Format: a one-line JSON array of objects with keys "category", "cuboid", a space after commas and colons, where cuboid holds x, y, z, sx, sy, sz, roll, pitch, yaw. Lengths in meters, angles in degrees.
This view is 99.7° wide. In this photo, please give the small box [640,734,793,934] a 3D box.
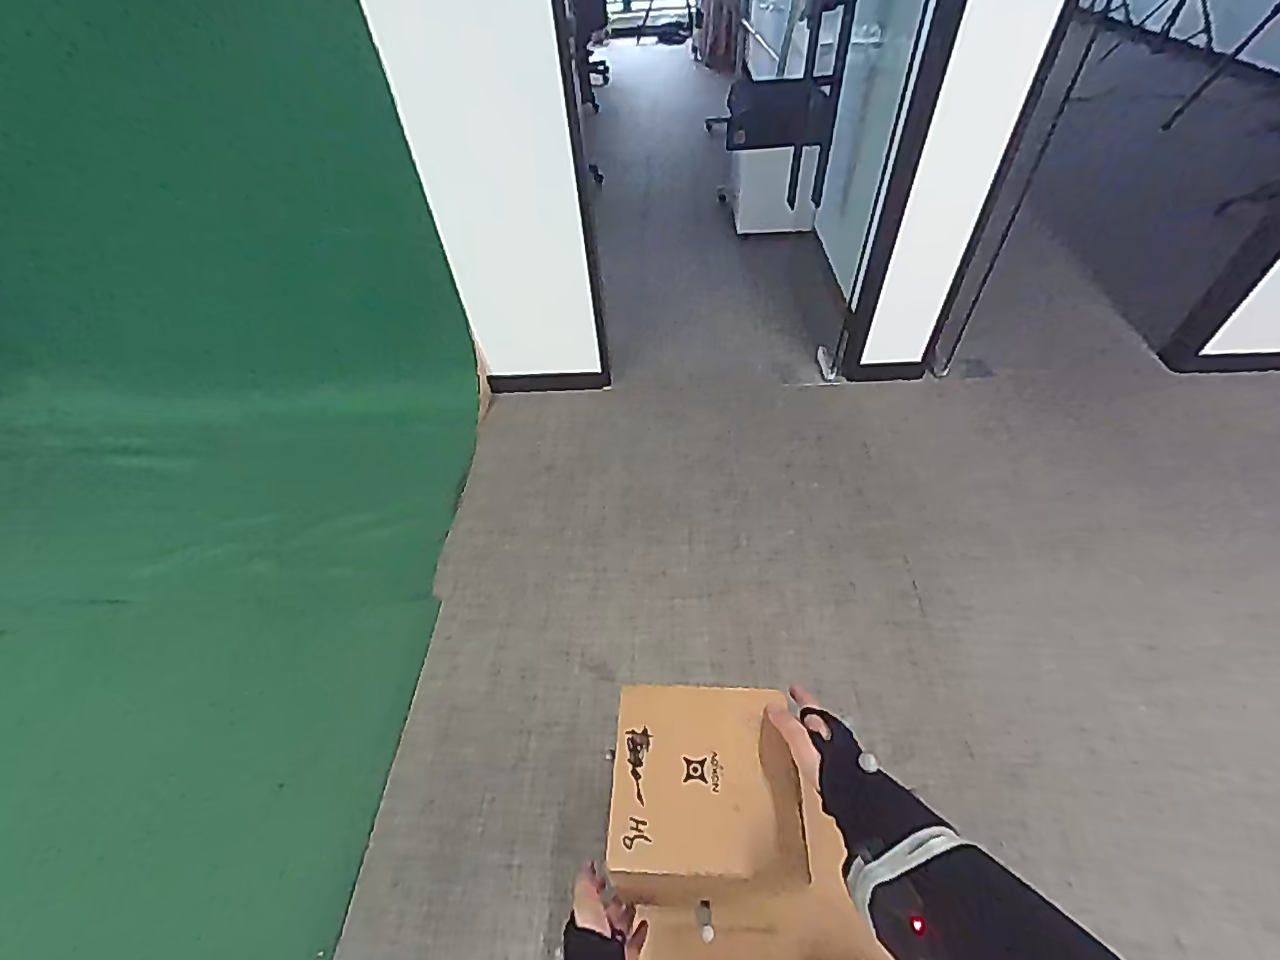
[{"category": "small box", "cuboid": [0.092, 0.449, 0.688, 0.168, 0.176, 0.179, 0, 45, 6]}]
